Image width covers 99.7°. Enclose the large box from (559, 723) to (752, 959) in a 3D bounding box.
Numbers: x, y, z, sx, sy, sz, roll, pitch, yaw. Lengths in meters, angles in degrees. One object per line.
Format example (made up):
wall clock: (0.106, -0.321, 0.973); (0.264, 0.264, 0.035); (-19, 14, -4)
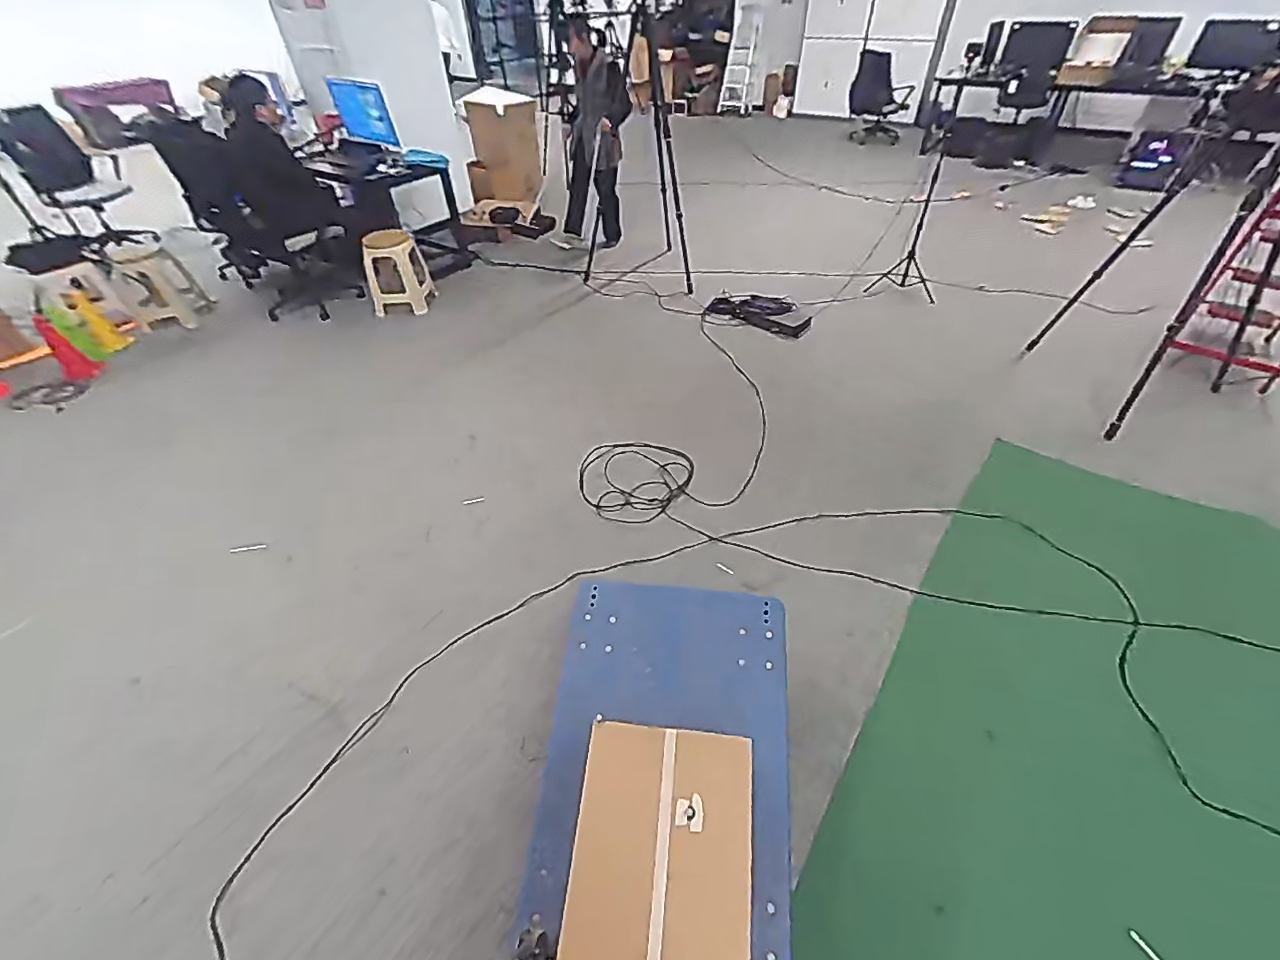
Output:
large box: (0.049, 0.740, 1.073); (0.320, 0.320, 0.408); (4, 56, 6)
